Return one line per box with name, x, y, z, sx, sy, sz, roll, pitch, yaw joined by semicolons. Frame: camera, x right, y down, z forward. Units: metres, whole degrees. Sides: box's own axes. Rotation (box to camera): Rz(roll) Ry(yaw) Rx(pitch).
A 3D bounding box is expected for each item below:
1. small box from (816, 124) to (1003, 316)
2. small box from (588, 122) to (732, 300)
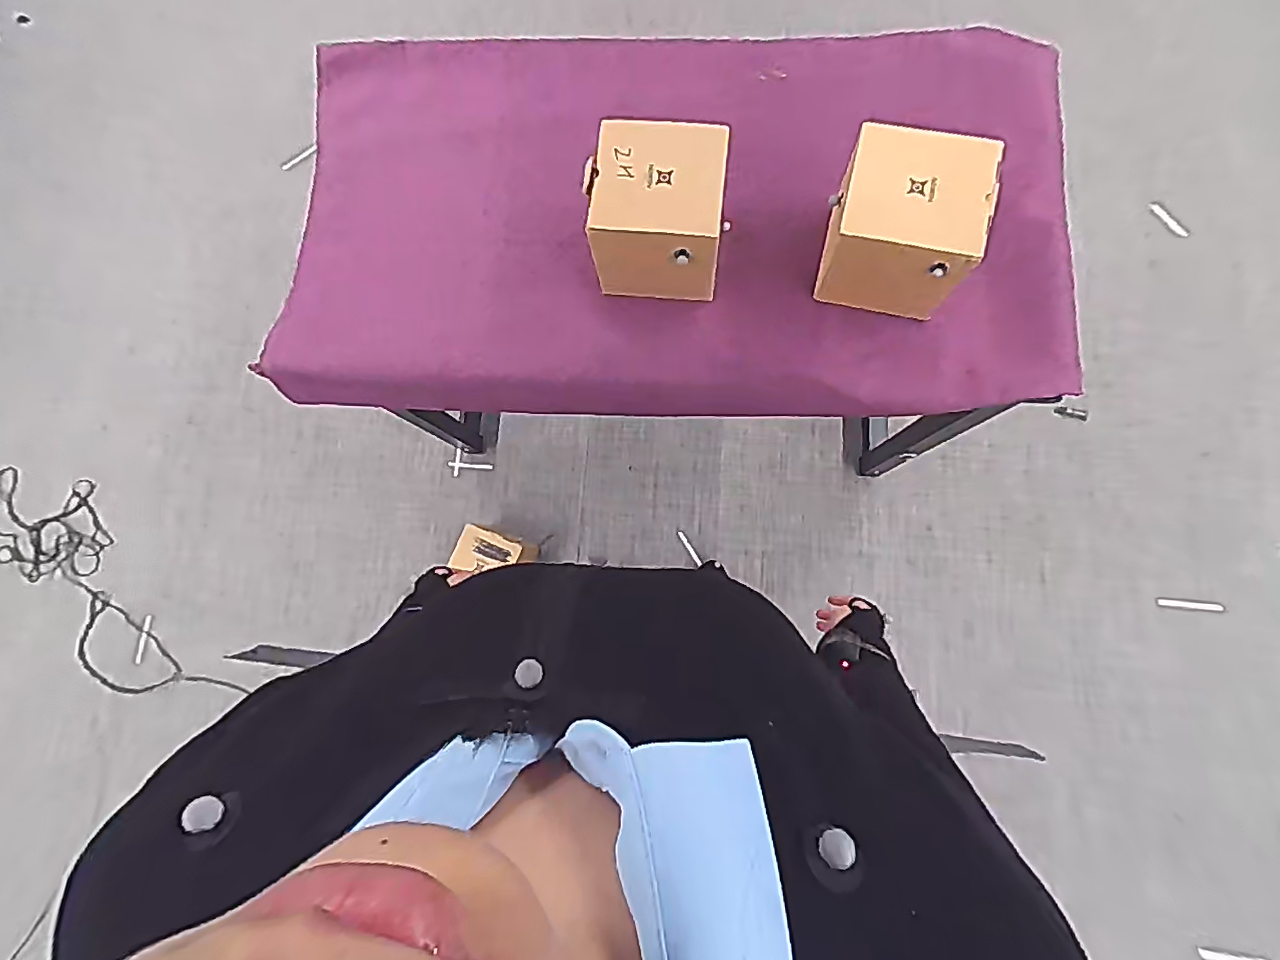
small box;0.360;-0.351;0.756;0.179;0.176;0.168;13;81;7
small box;0.033;-0.380;0.789;0.179;0.176;0.168;6;80;6
